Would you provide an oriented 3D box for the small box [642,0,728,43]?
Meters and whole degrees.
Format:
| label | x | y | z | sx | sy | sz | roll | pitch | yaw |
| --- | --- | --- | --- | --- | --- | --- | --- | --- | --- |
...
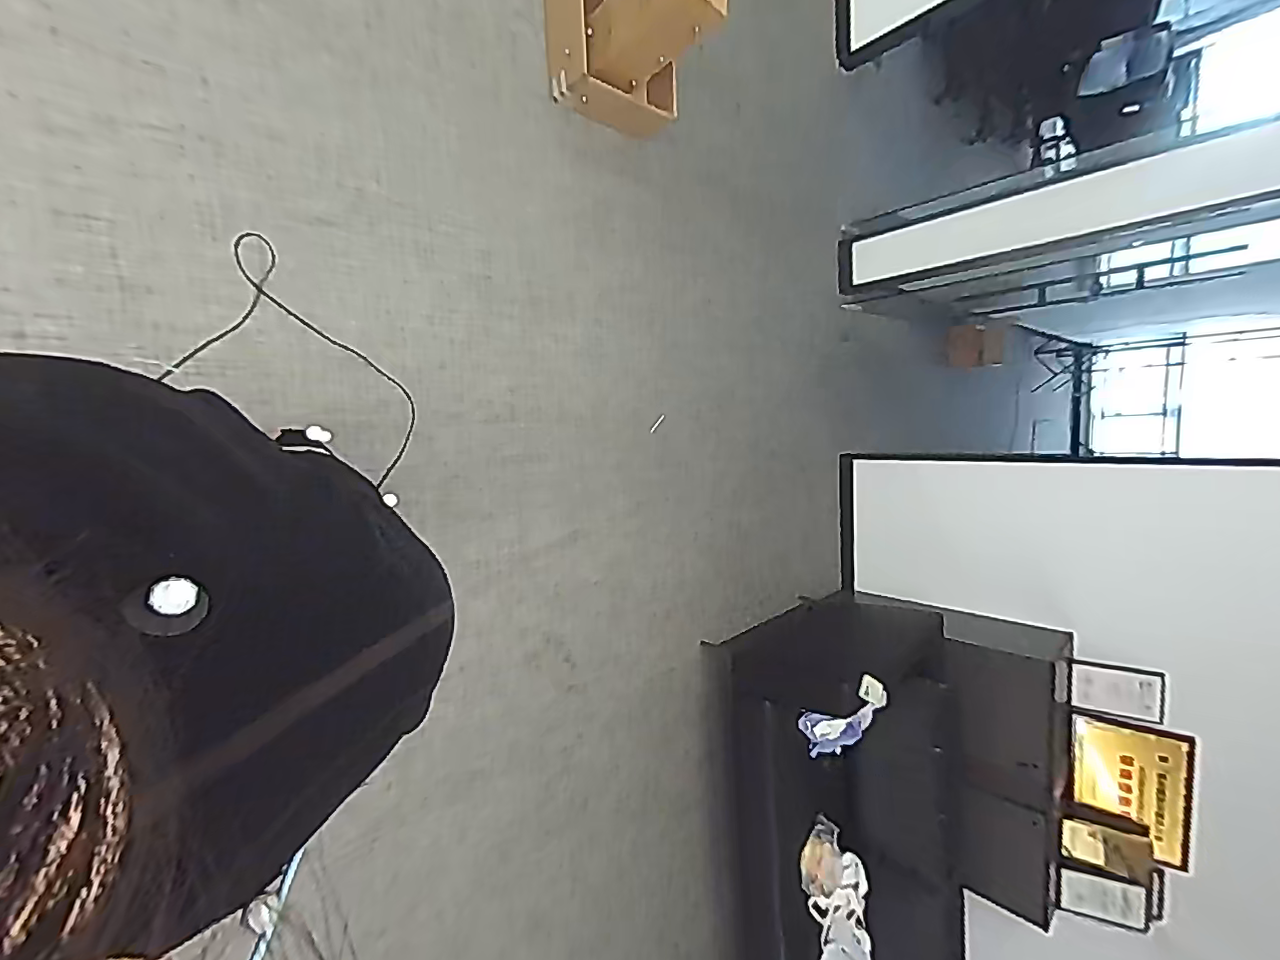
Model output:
| label | x | y | z | sx | sy | sz | roll | pitch | yaw |
| --- | --- | --- | --- | --- | --- | --- | --- | --- | --- |
| small box | 0.124 | -1.361 | 1.491 | 0.179 | 0.176 | 0.168 | -5 | 95 | -42 |
